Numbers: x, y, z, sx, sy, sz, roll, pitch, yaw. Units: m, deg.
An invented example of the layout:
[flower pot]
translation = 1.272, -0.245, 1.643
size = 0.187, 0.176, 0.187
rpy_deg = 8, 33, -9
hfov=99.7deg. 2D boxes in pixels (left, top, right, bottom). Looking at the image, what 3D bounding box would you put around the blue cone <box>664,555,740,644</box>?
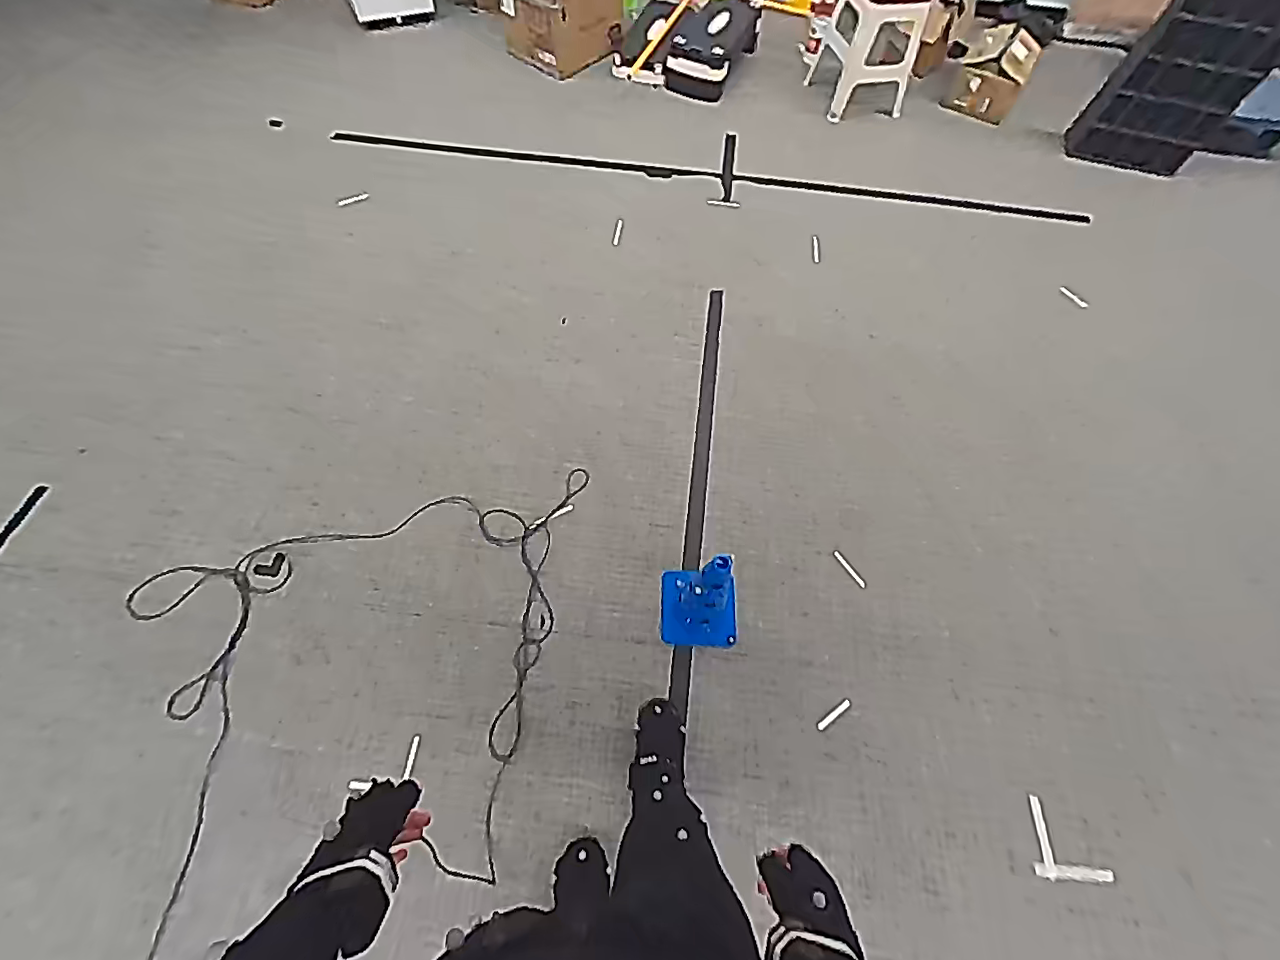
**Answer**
[blue cone]
translation = 0.171, 0.262, 1.307
size = 0.192, 0.380, 0.193
rpy_deg = 5, 61, -1
